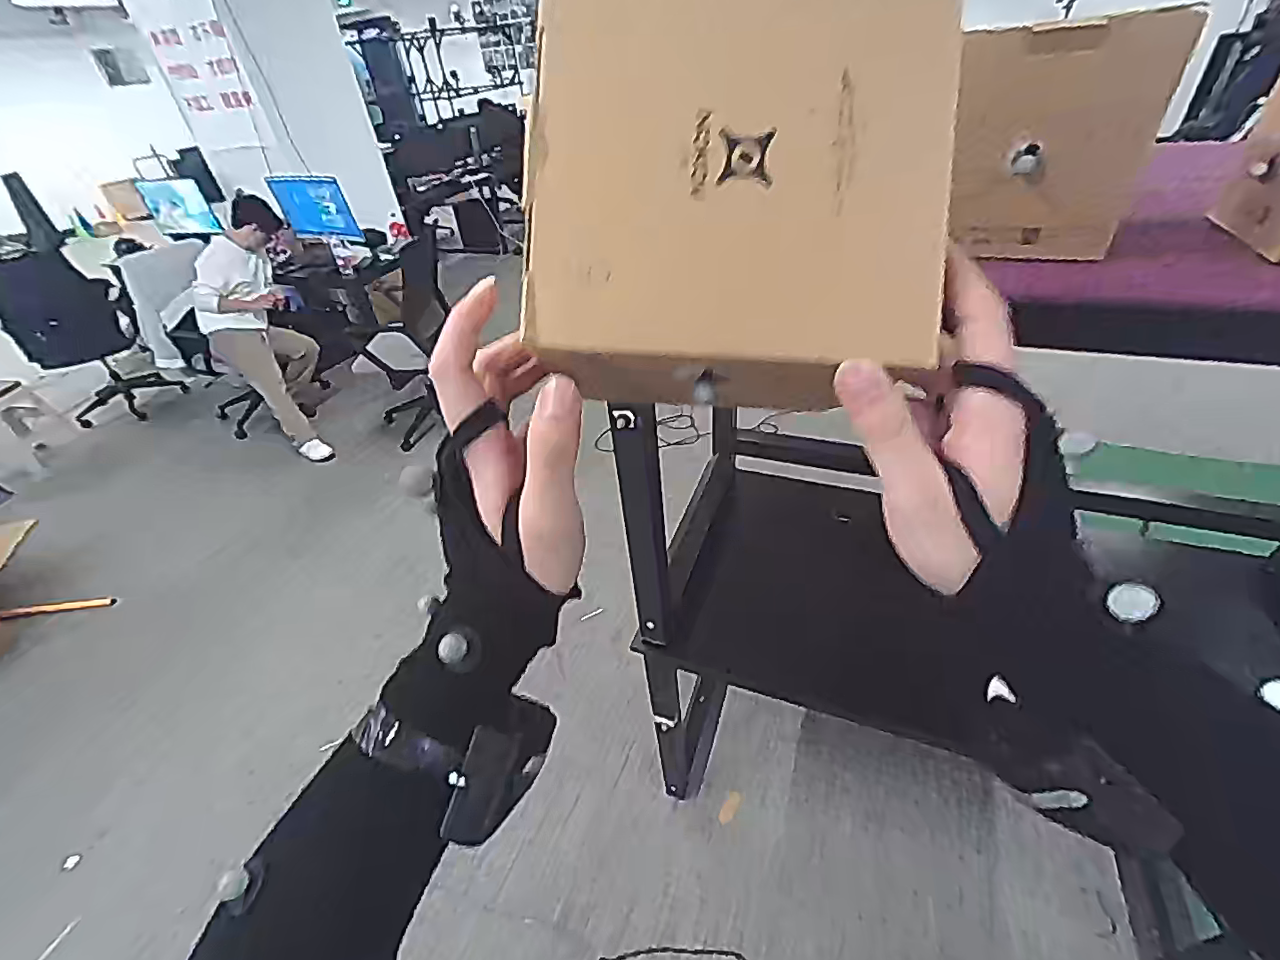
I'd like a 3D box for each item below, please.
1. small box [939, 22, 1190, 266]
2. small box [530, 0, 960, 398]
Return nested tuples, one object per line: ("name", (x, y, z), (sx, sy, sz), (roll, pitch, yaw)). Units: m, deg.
("small box", (0.349, -0.311, 0.512), (0.168, 0.176, 0.179), (11, 40, 20))
("small box", (0.049, -0.144, 0.313), (0.179, 0.168, 0.176), (4, 1, 3))
